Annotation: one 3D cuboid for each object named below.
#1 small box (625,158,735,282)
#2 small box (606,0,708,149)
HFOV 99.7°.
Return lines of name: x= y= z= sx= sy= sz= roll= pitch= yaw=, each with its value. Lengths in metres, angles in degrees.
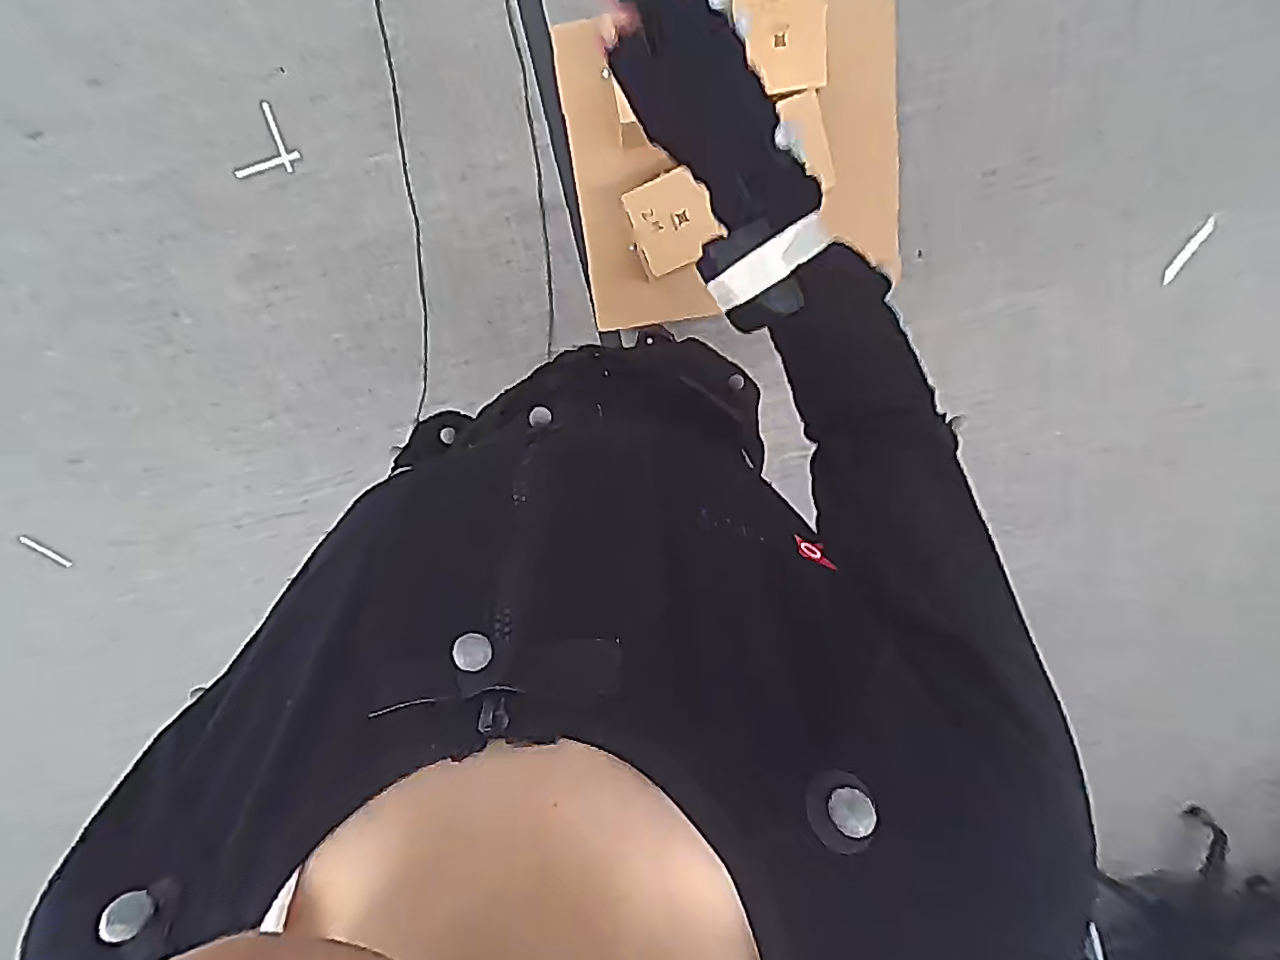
small box: x=0.078 y=-0.532 z=1.130 sx=0.179 sy=0.176 sz=0.168 roll=-22 pitch=103 yaw=6
small box: x=0.030 y=-0.785 z=1.061 sx=0.168 sy=0.176 sz=0.179 roll=-11 pitch=106 yaw=3
